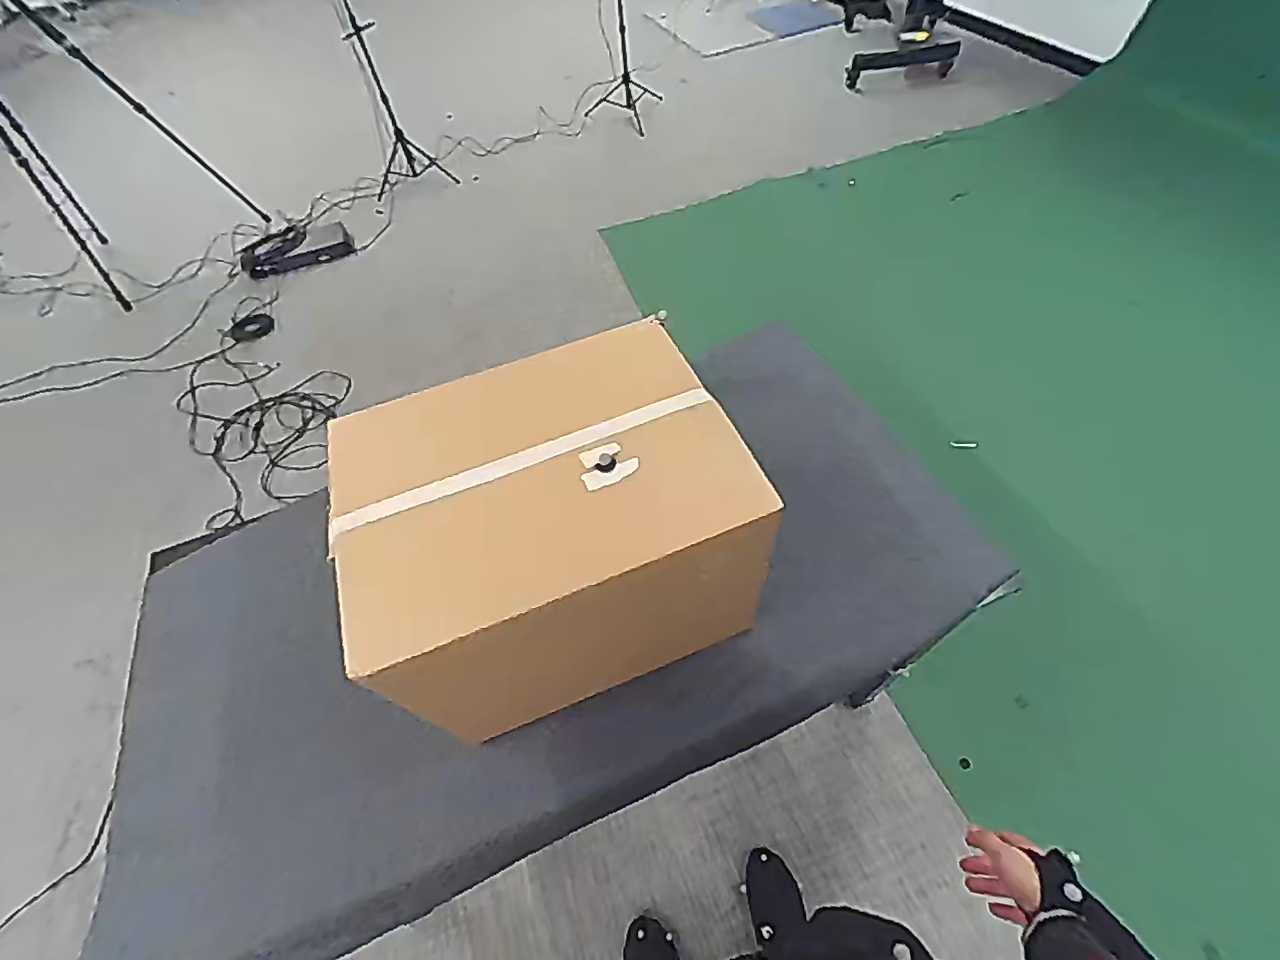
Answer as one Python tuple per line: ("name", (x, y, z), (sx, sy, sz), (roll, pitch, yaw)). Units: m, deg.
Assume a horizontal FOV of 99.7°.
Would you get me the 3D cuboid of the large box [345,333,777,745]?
("large box", (-0.093, 0.079, 0.692), (0.408, 0.320, 0.320), (-20, 56, -9))
